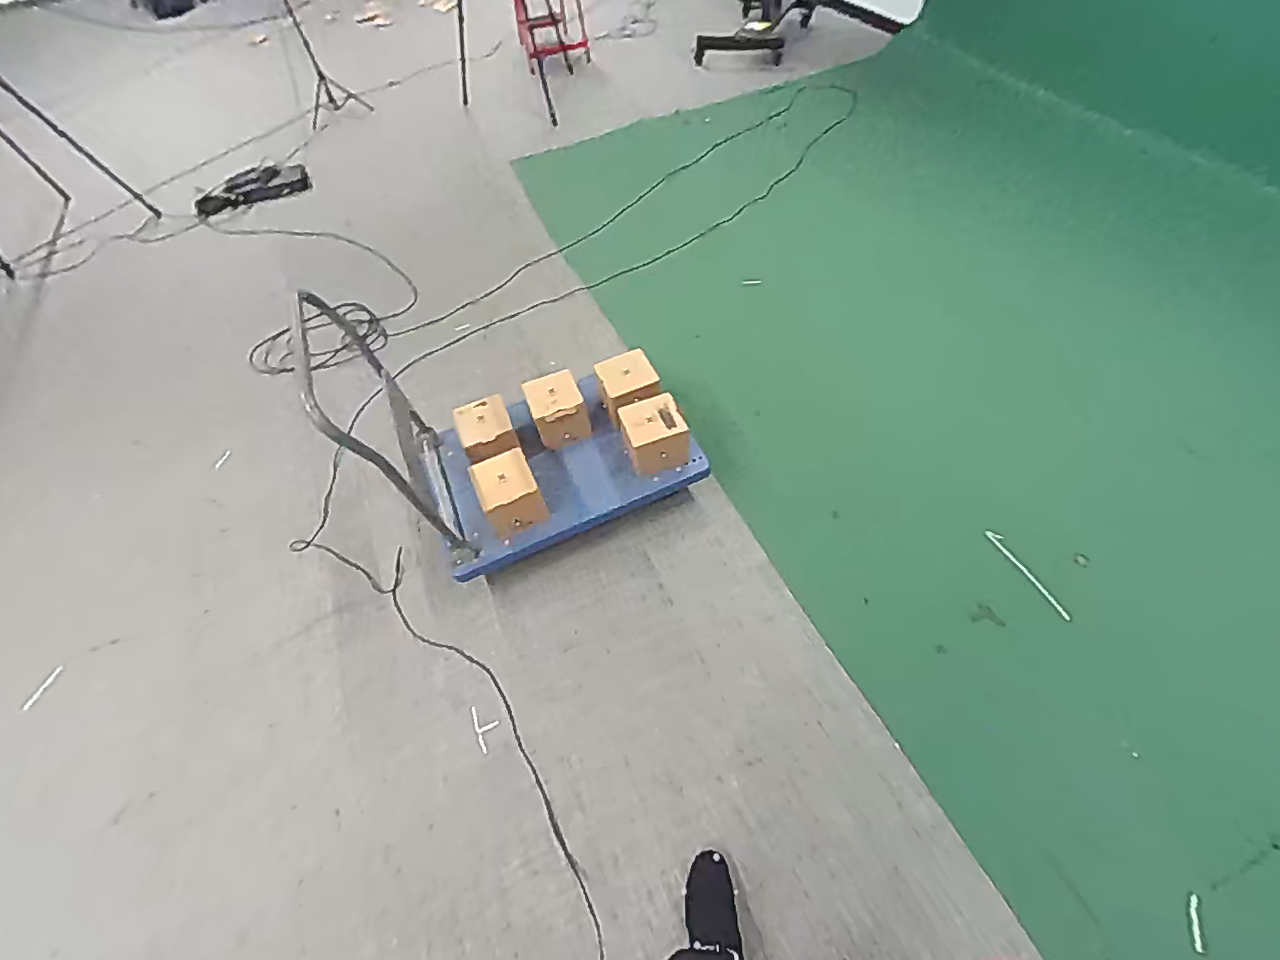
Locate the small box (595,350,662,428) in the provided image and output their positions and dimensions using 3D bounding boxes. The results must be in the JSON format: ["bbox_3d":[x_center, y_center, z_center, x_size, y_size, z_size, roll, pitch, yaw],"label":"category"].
[{"bbox_3d":[-0.034,-0.301,1.826,0.179,0.176,0.168,-21,57,-9],"label":"small box"}]

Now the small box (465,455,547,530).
[{"bbox_3d":[-0.397,0.040,1.636,0.179,0.176,0.168,2,58,8],"label":"small box"}]
